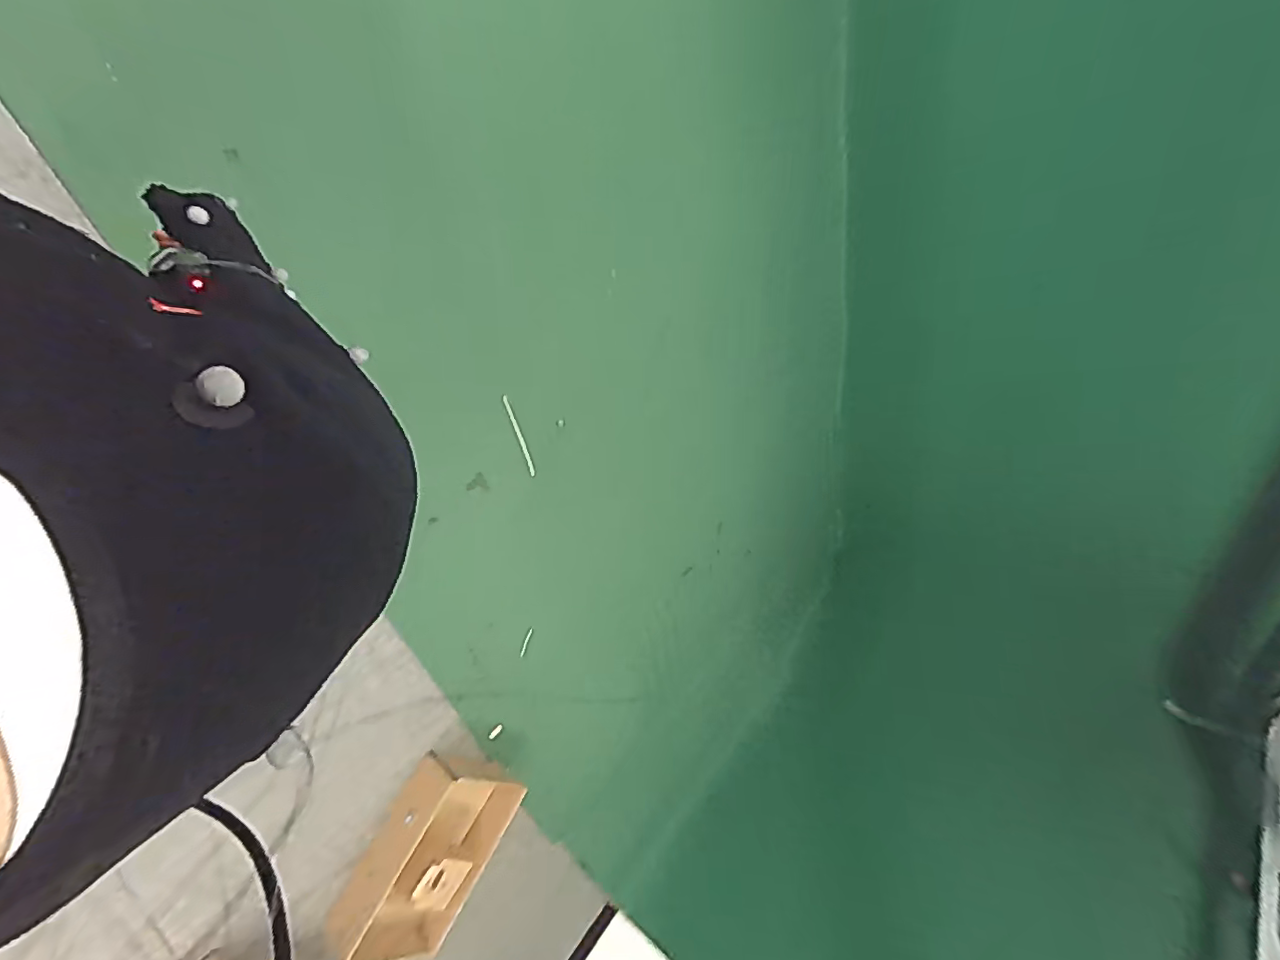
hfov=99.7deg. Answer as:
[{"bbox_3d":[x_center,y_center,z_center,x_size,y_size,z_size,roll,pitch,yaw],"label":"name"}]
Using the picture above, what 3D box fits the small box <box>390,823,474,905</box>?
[{"bbox_3d":[-0.720,1.322,1.870,0.168,0.176,0.179,-55,140,-21],"label":"small box"}]
